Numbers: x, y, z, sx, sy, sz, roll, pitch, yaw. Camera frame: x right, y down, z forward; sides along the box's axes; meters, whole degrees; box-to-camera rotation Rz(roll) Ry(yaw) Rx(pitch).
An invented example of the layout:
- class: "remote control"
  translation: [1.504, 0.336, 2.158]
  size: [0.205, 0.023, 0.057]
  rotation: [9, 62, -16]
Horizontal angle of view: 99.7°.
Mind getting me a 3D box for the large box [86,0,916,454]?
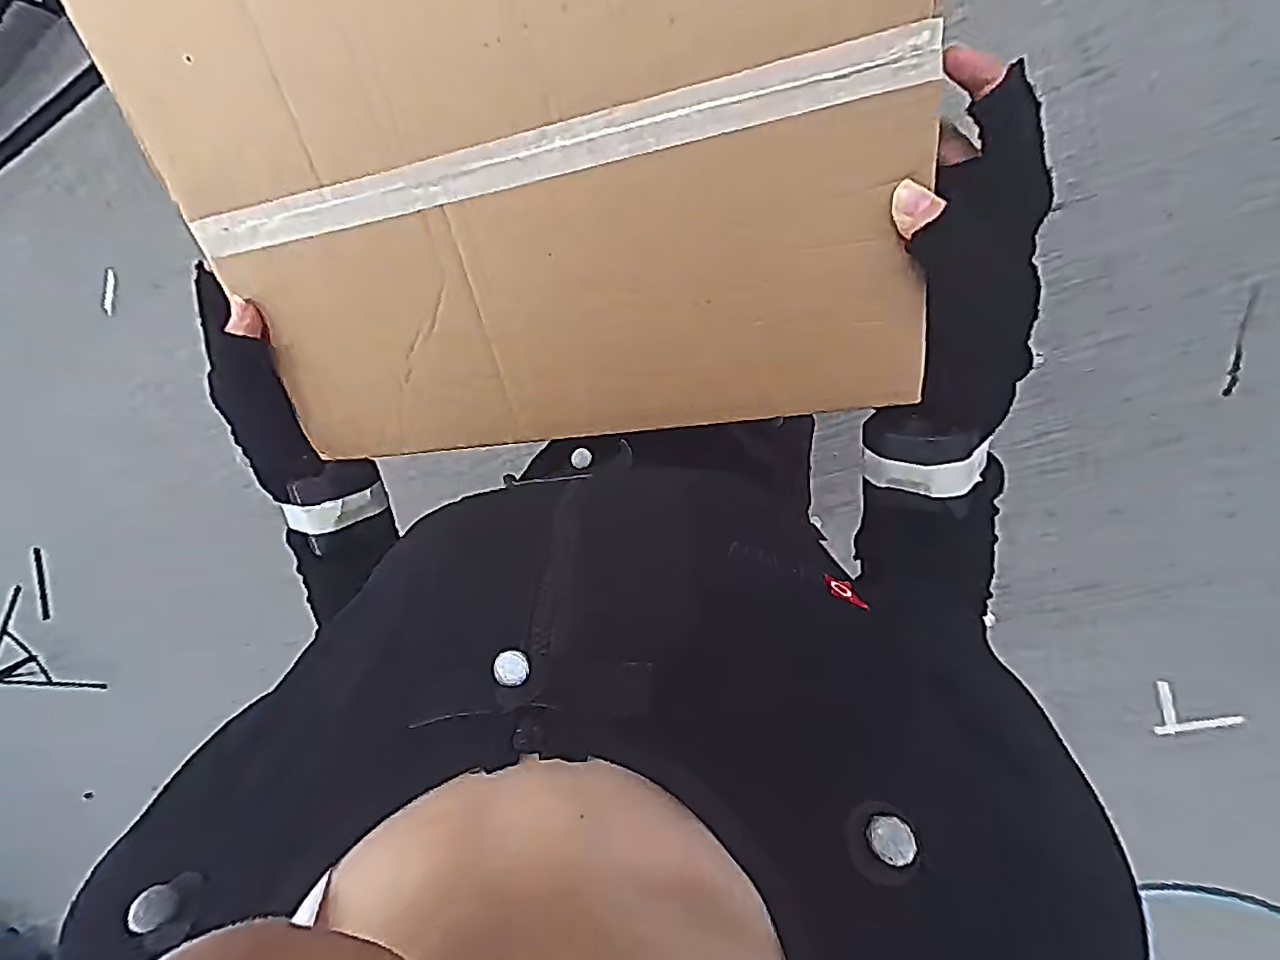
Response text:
- class: "large box"
  translation: [-0.042, -0.244, 0.407]
  size: [0.408, 0.320, 0.320]
  rotation: [-5, 120, 16]
